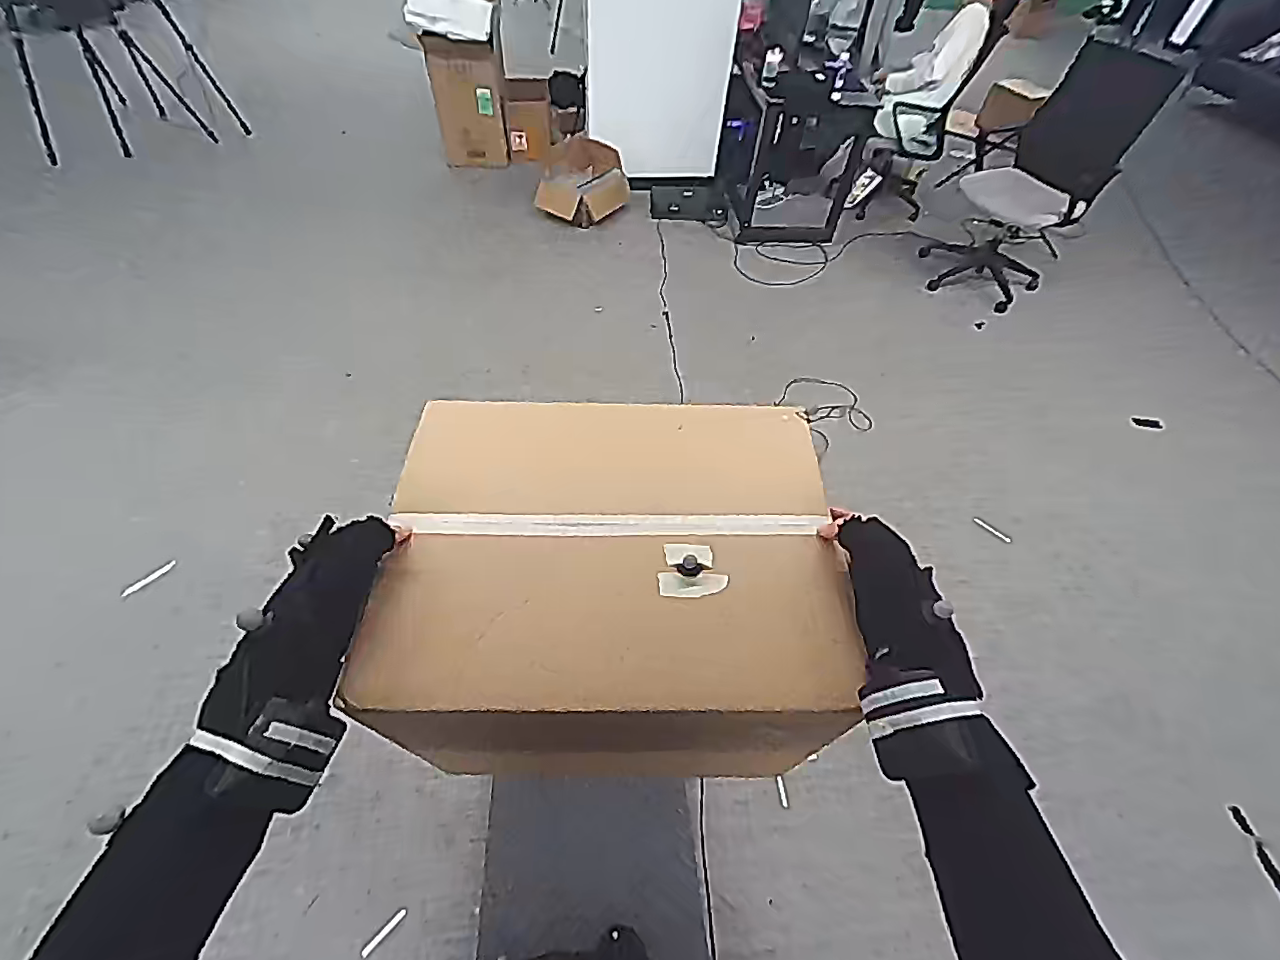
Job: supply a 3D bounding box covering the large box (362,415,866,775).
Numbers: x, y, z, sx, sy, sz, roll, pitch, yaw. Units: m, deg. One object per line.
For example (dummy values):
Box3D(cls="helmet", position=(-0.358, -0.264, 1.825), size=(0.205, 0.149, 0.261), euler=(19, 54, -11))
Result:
Box3D(cls="large box", position=(-0.025, 0.140, 0.626), size=(0.408, 0.320, 0.320), euler=(1, 54, -1))
